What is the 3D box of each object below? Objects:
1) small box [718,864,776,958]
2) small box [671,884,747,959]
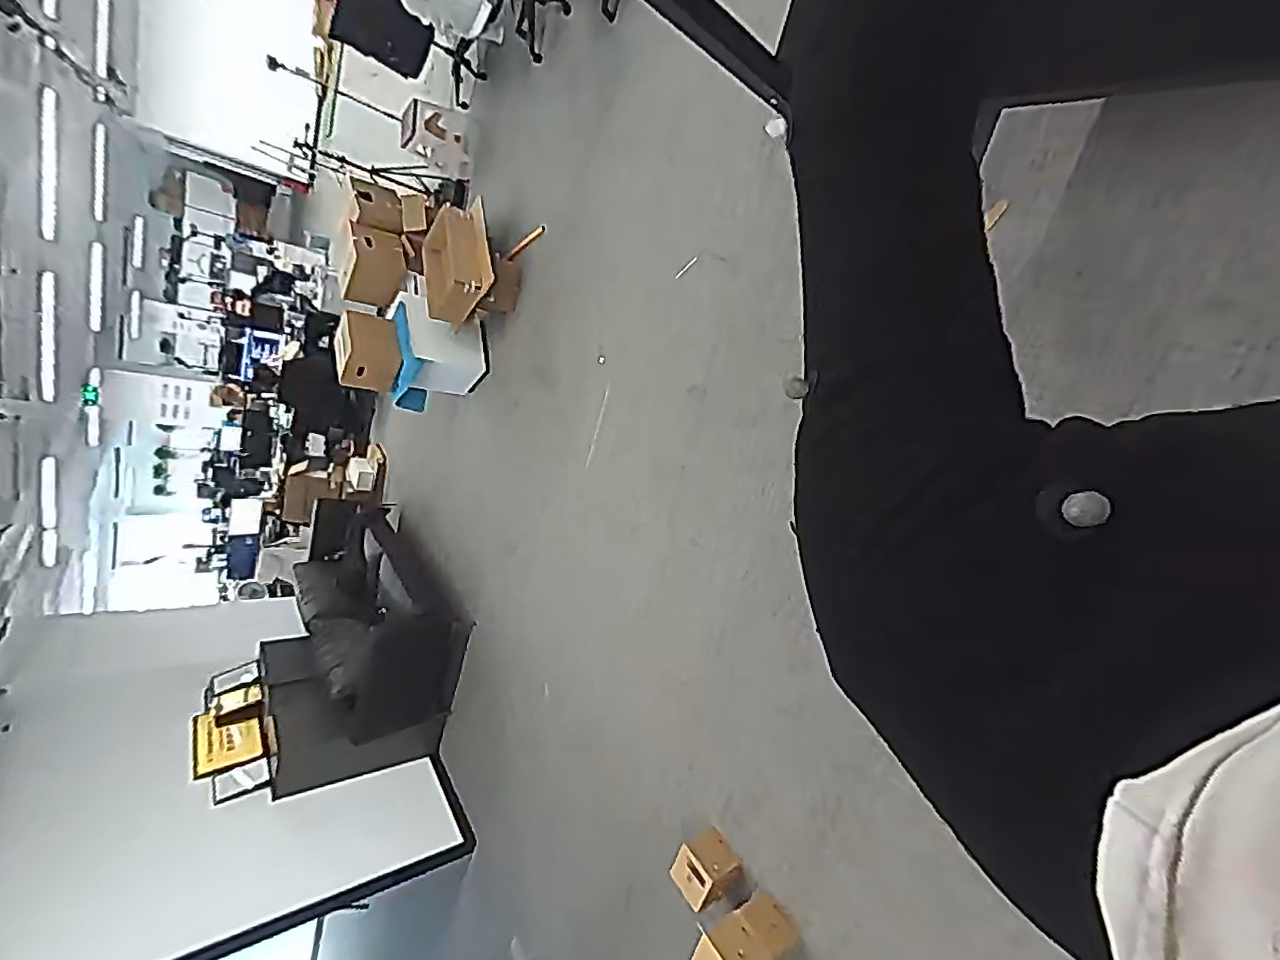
[{"bbox_3d":[0.359,1.527,1.928,0.168,0.176,0.179,37,116,43],"label":"small box"},{"bbox_3d":[0.237,1.522,1.821,0.168,0.176,0.179,33,113,43],"label":"small box"}]
